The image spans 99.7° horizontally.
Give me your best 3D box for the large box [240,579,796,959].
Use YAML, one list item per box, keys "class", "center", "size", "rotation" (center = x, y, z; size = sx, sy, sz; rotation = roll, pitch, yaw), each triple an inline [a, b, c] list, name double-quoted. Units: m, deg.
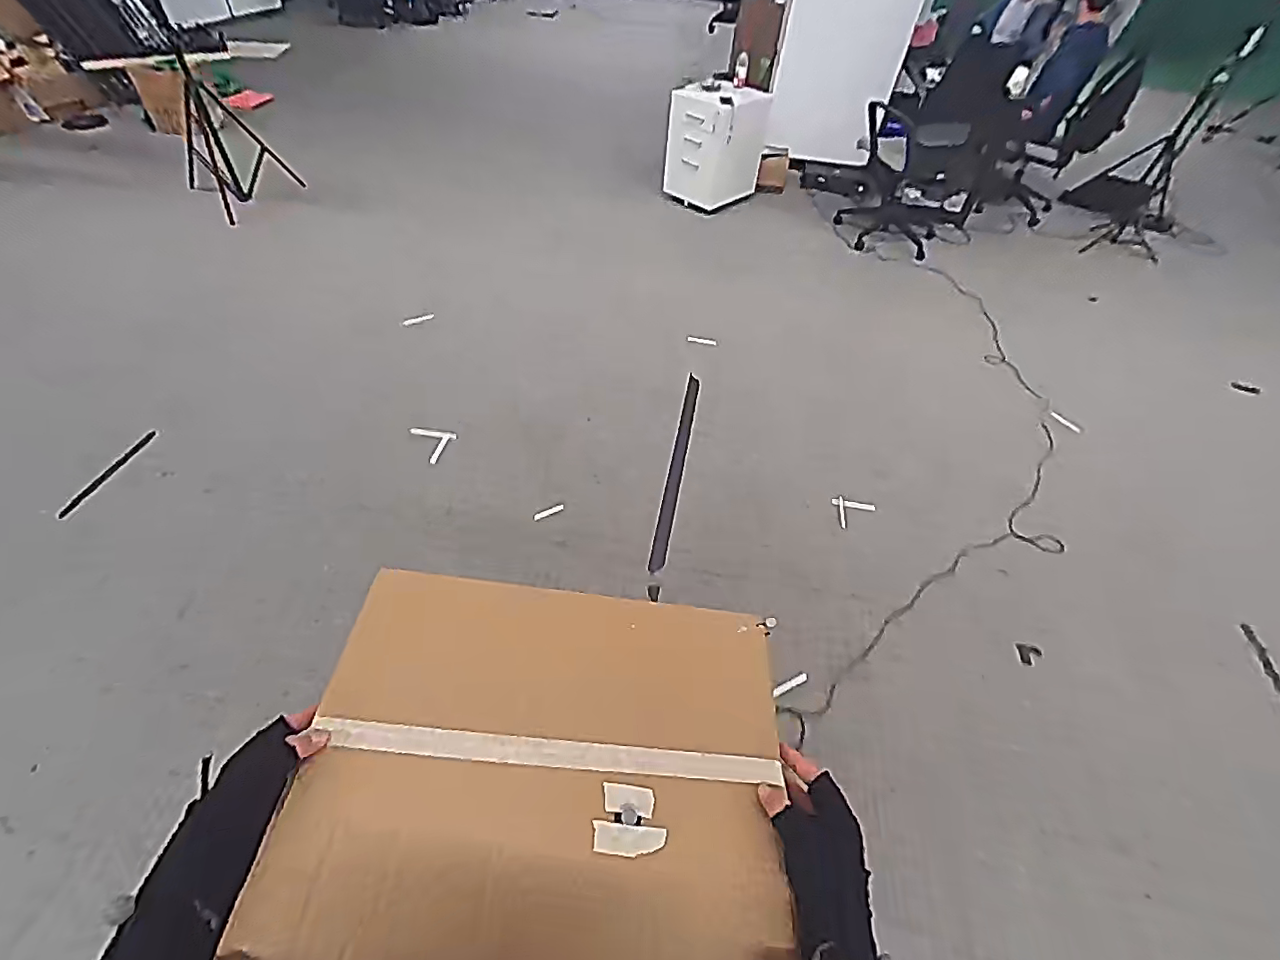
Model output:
- class: "large box"
  center: [-0.099, 0.336, 0.591]
  size: [0.408, 0.320, 0.320]
  rotation: [8, 49, -6]
